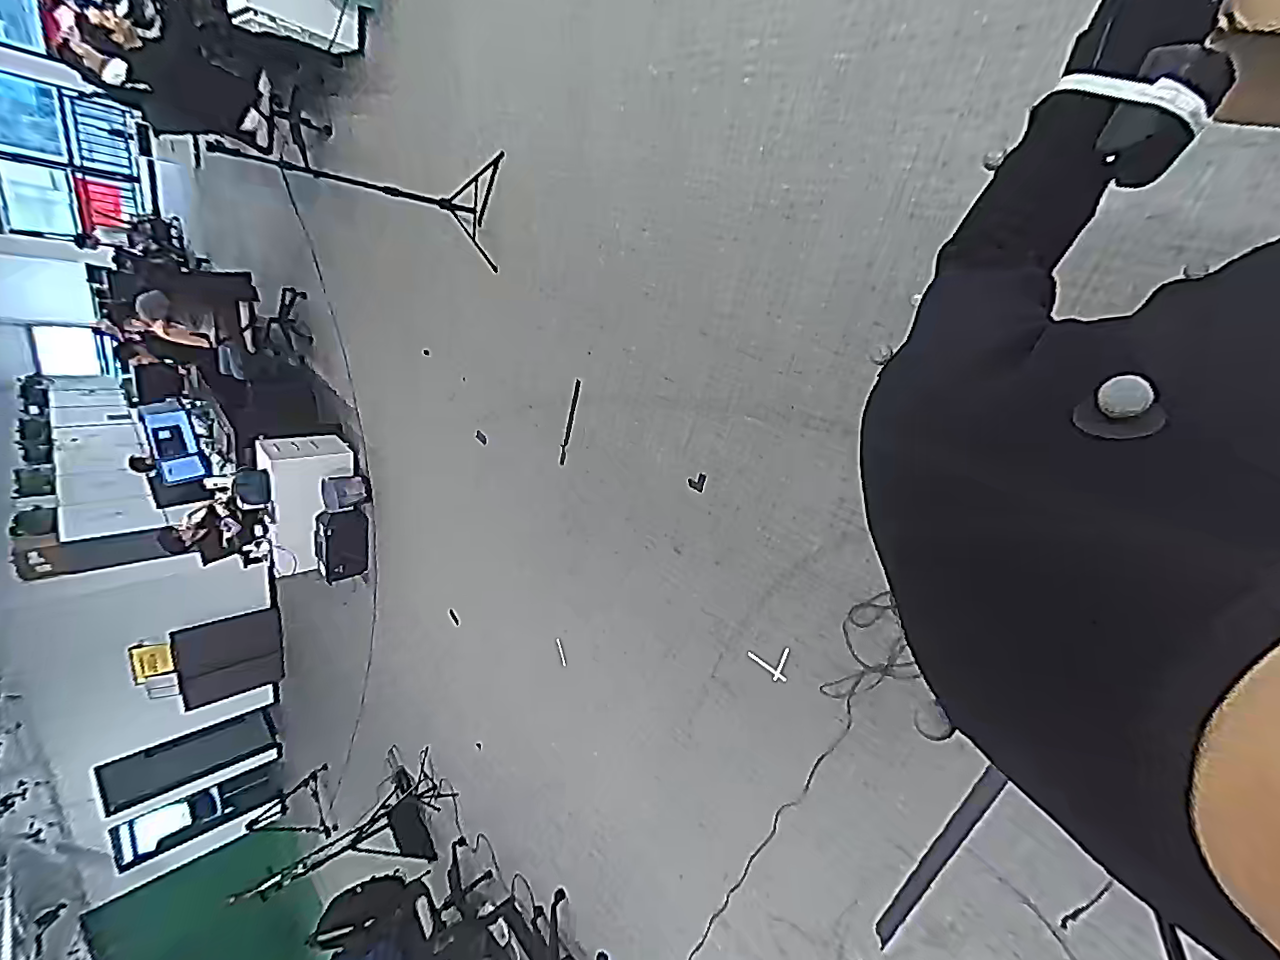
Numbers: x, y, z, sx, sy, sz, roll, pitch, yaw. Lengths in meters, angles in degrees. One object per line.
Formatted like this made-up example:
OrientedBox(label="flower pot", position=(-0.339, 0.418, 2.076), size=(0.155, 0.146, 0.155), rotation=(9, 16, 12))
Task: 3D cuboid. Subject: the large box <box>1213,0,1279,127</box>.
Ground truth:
OrientedBox(label="large box", position=(0.635, -0.370, 0.266), size=(0.408, 0.320, 0.320), rotation=(33, 127, 34))
